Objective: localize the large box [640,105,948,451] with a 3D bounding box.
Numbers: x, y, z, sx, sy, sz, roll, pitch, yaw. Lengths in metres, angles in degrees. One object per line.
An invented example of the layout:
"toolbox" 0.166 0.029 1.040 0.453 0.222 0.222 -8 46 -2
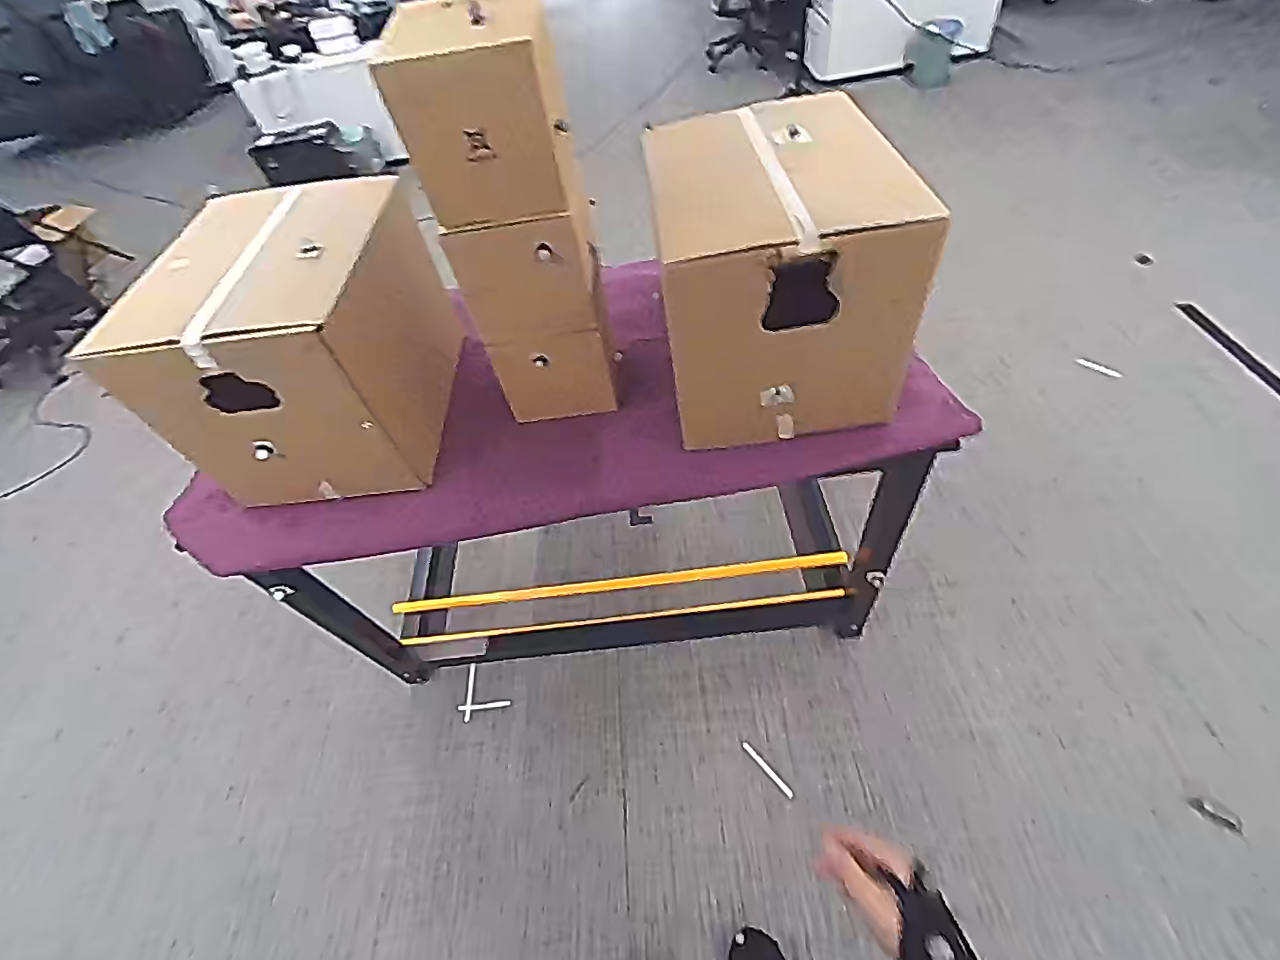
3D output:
"large box" 0.187 -0.306 0.822 0.320 0.320 0.408 -8 50 3
